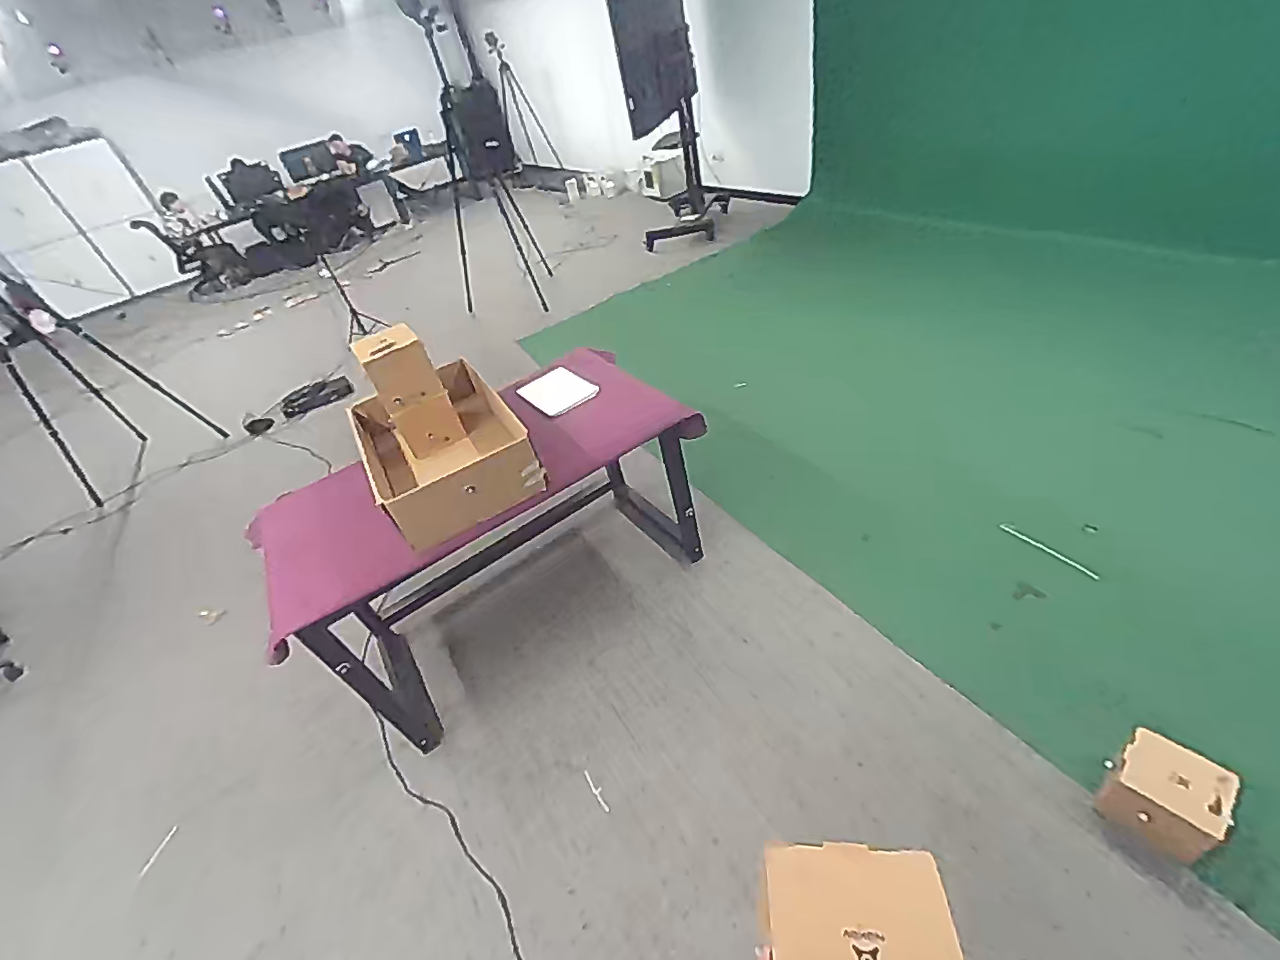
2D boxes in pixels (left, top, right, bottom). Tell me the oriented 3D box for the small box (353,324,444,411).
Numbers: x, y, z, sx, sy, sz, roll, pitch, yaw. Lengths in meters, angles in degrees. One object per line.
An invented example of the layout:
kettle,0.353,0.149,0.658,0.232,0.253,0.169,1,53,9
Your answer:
small box,-0.692,-0.321,1.561,0.168,0.176,0.179,-31,43,-19

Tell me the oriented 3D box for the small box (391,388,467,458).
small box,-0.658,-0.196,1.662,0.168,0.176,0.179,-30,44,-19

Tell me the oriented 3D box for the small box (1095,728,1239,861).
small box,1.184,0.715,1.227,0.168,0.176,0.179,-38,45,-25
